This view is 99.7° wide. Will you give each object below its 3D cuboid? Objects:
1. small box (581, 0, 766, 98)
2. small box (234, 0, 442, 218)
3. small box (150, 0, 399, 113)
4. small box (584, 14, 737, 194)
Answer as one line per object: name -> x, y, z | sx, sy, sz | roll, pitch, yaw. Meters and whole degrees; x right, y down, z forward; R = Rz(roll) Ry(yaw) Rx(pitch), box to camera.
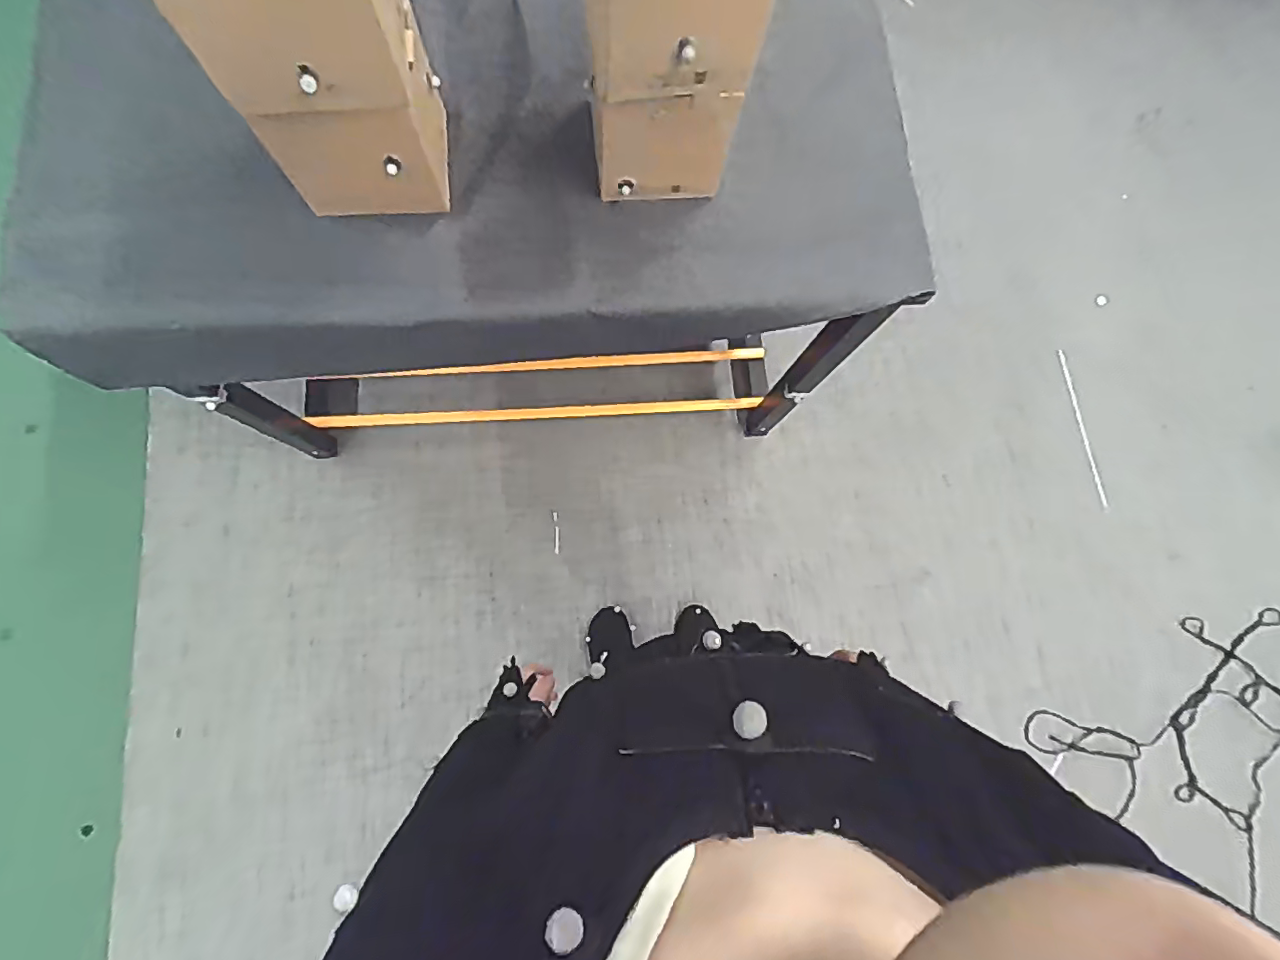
small box -> 0.027, -0.532, 0.542 | 0.168, 0.176, 0.179 | -11, 79, -6
small box -> -0.351, -0.449, 0.664 | 0.179, 0.176, 0.168 | -6, 77, -5
small box -> -0.337, -0.480, 0.503 | 0.179, 0.176, 0.168 | -8, 77, -7
small box -> 0.018, -0.498, 0.703 | 0.168, 0.176, 0.179 | -6, 77, -6
